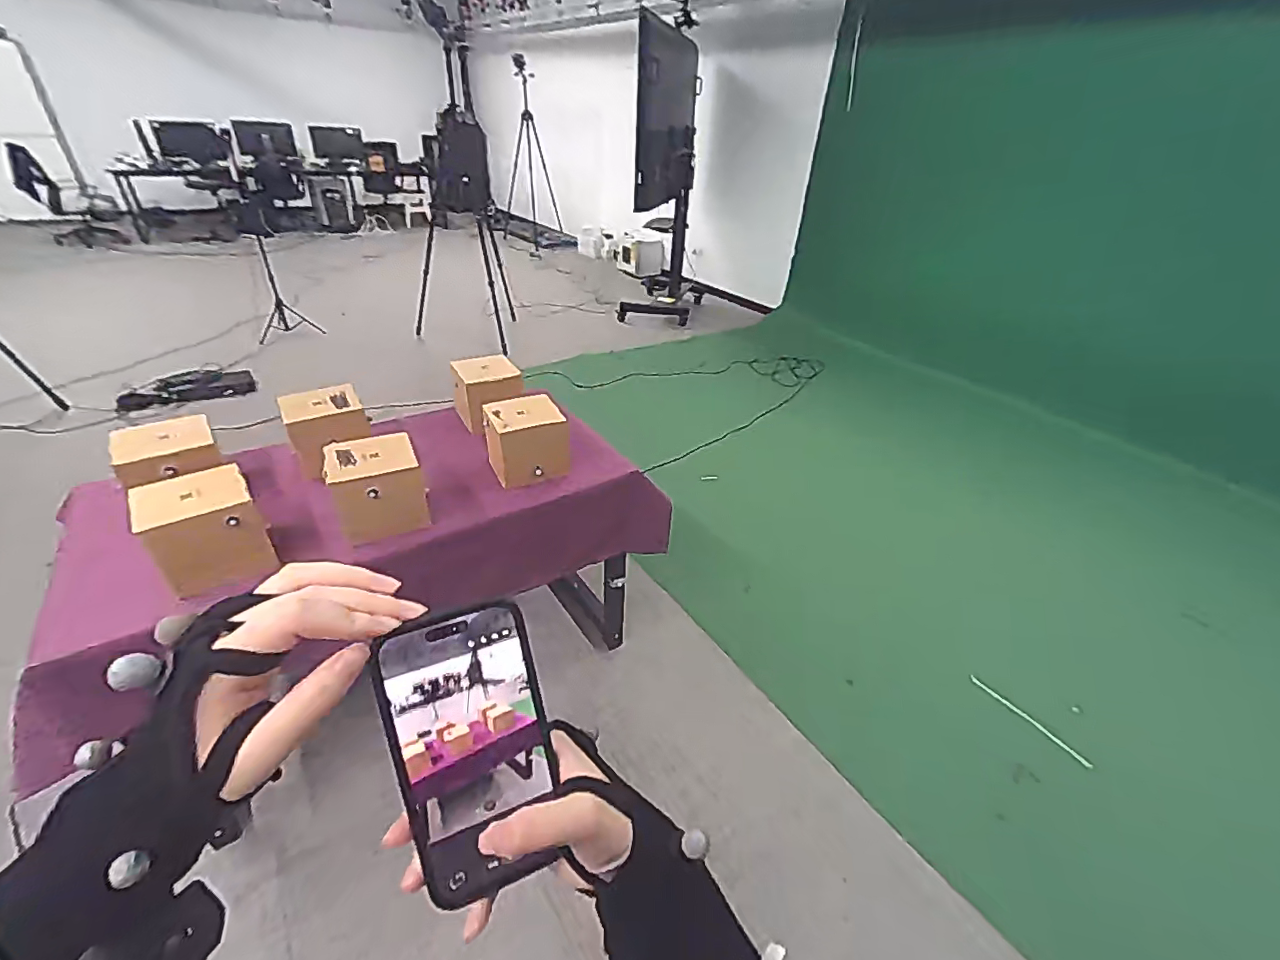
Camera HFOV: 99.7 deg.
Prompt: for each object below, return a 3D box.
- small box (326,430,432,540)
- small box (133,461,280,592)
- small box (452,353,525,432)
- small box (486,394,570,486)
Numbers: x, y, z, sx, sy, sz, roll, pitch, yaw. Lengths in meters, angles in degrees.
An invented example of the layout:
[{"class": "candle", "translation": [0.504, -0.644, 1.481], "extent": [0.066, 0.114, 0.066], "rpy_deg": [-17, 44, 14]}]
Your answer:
[{"class": "small box", "translation": [-0.580, 0.011, 1.207], "extent": [0.179, 0.176, 0.168], "rpy_deg": [-13, 38, -25]}, {"class": "small box", "translation": [-0.847, 0.090, 1.063], "extent": [0.179, 0.176, 0.168], "rpy_deg": [-22, 41, -35]}, {"class": "small box", "translation": [-0.454, -0.265, 1.628], "extent": [0.168, 0.176, 0.179], "rpy_deg": [-16, 40, -26]}, {"class": "small box", "translation": [-0.293, -0.106, 1.411], "extent": [0.179, 0.176, 0.168], "rpy_deg": [-13, 37, -24]}]
